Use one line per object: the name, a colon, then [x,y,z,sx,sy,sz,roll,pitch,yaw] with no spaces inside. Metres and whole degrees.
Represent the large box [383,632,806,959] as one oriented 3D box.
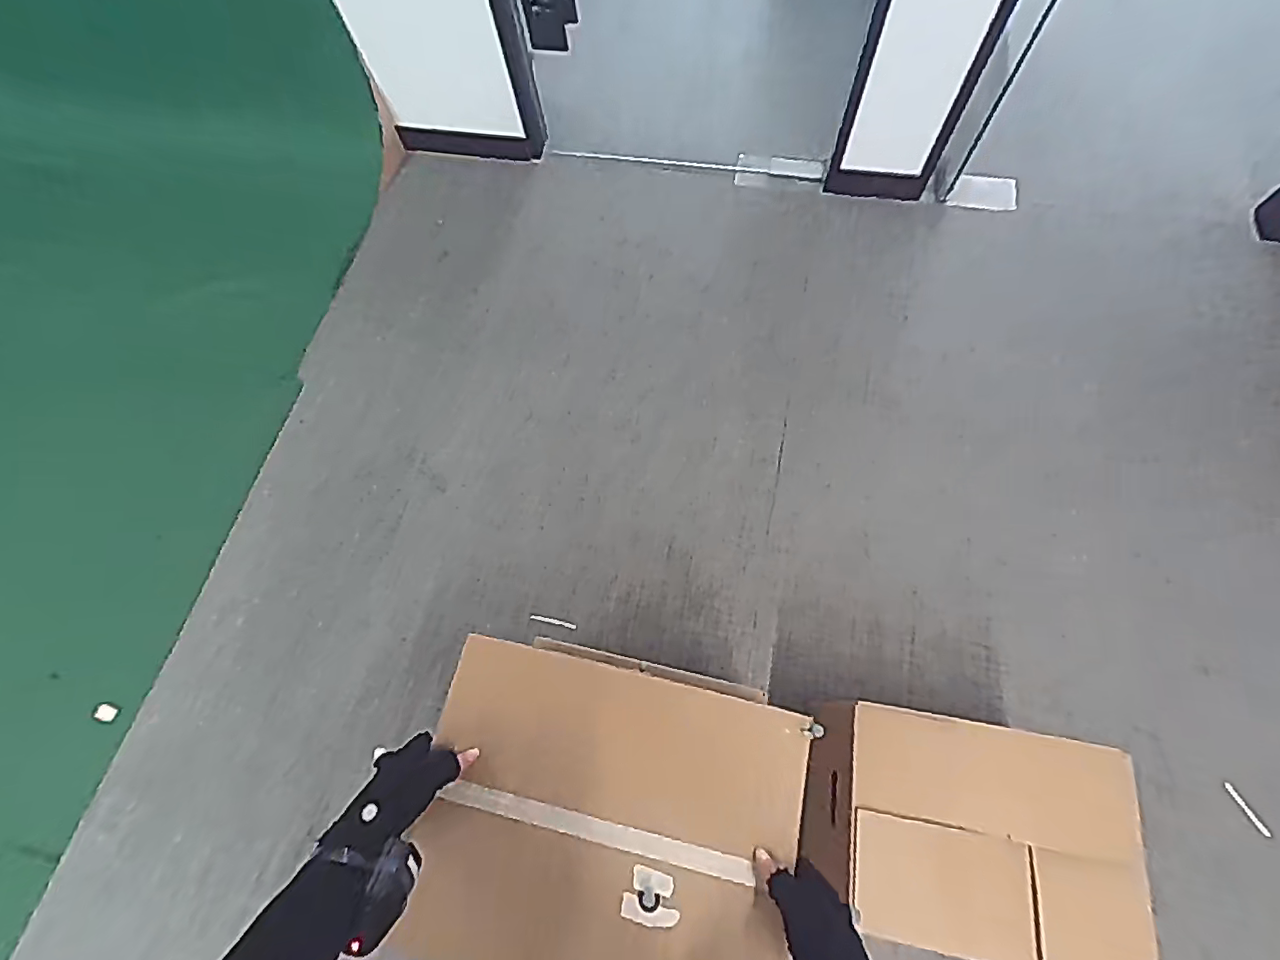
large box: [-0.034,0.408,0.715,0.408,0.320,0.320,11,71,7]
